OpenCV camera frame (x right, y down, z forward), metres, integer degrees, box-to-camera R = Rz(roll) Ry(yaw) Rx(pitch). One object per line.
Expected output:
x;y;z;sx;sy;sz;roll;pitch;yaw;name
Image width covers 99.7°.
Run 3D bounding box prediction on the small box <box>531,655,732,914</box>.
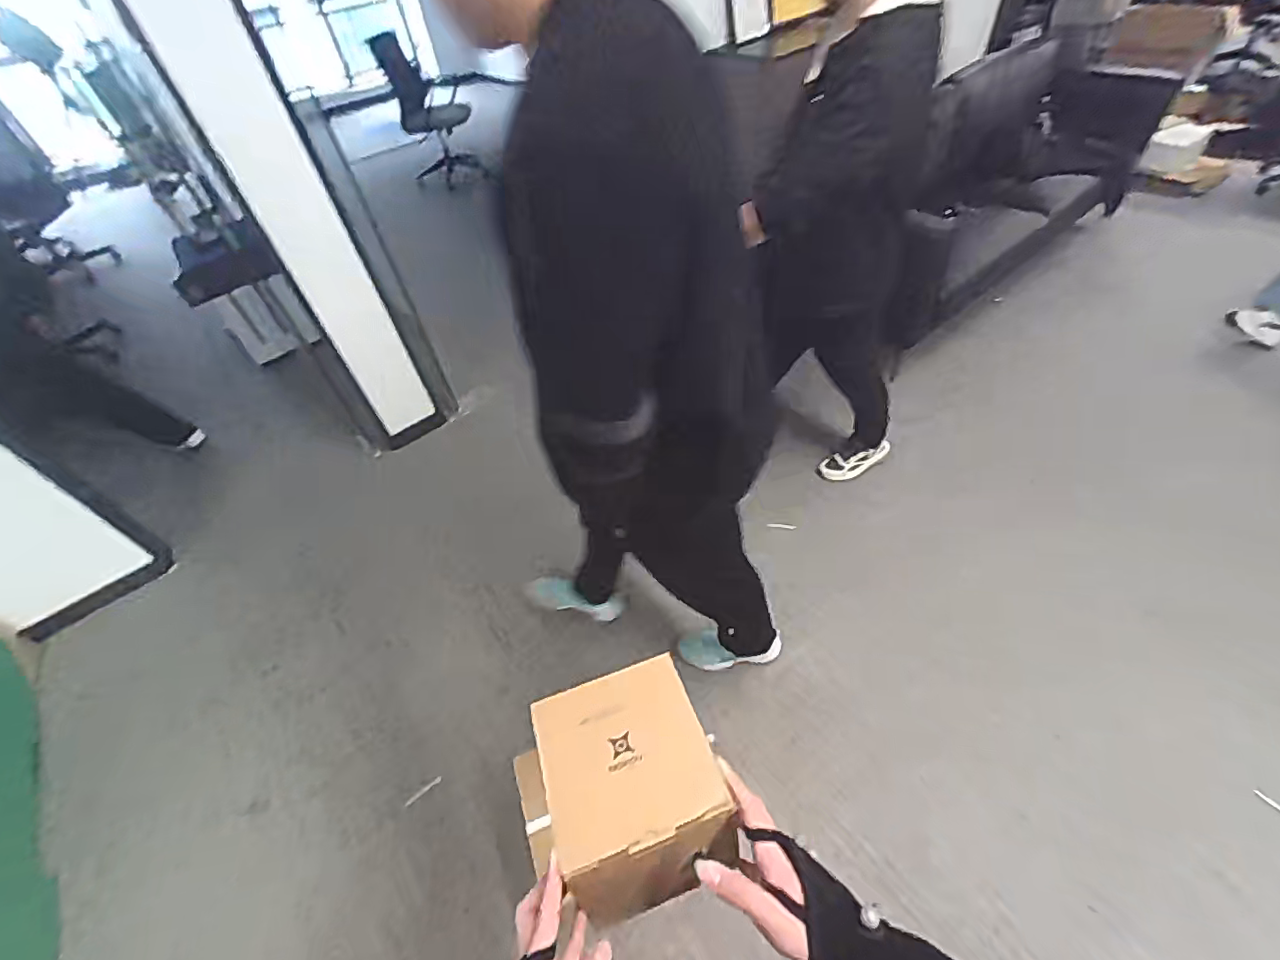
-0.007;0.334;0.590;0.168;0.176;0.179;-17;38;-9;small box
